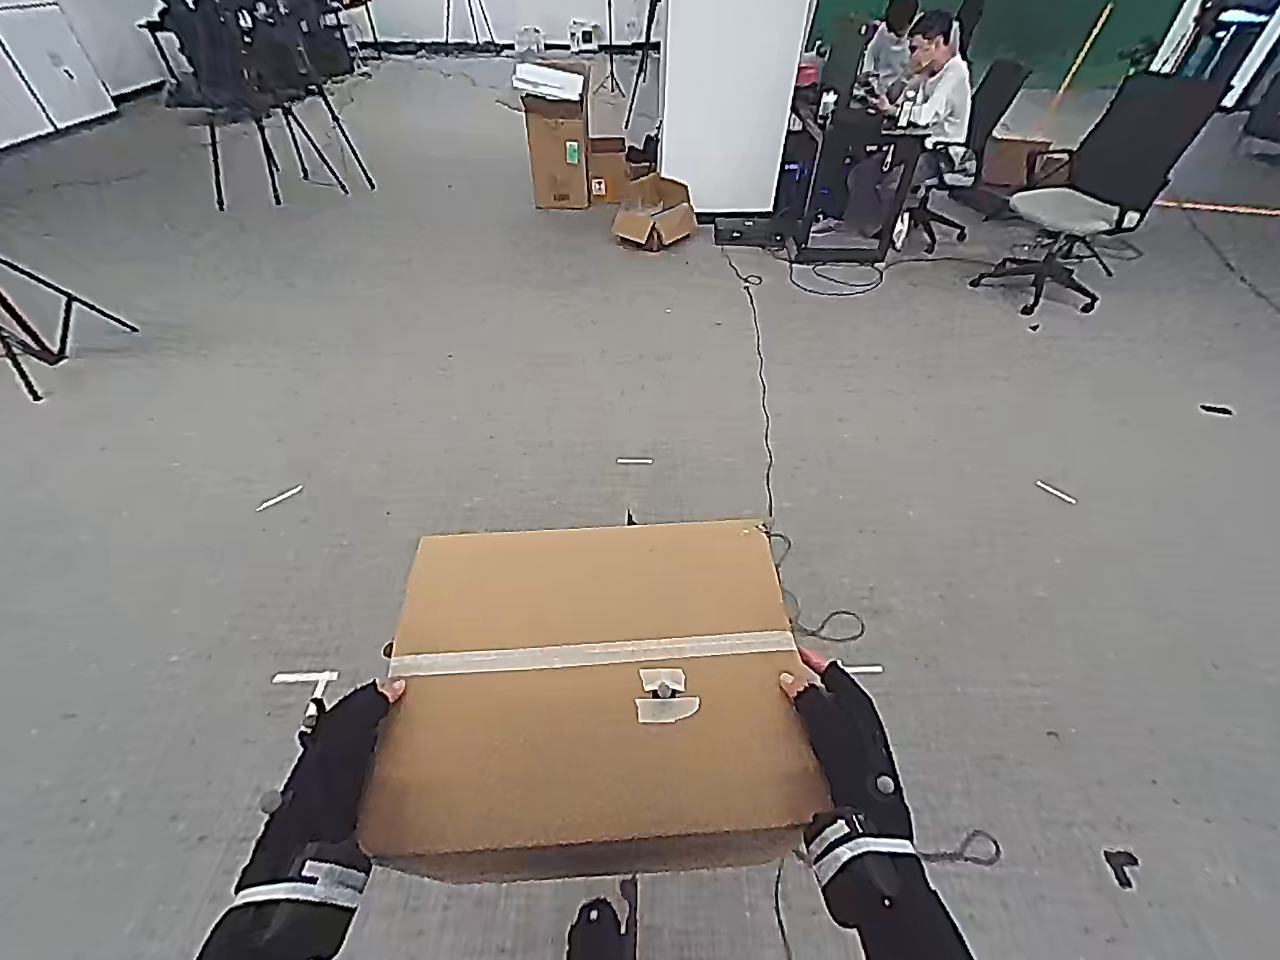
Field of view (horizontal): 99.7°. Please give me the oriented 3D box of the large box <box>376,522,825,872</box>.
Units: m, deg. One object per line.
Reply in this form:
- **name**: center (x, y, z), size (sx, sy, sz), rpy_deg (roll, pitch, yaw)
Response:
- **large box**: center (-0.043, 0.275, 0.679), size (0.408, 0.320, 0.320), rpy_deg (-2, 51, -3)
